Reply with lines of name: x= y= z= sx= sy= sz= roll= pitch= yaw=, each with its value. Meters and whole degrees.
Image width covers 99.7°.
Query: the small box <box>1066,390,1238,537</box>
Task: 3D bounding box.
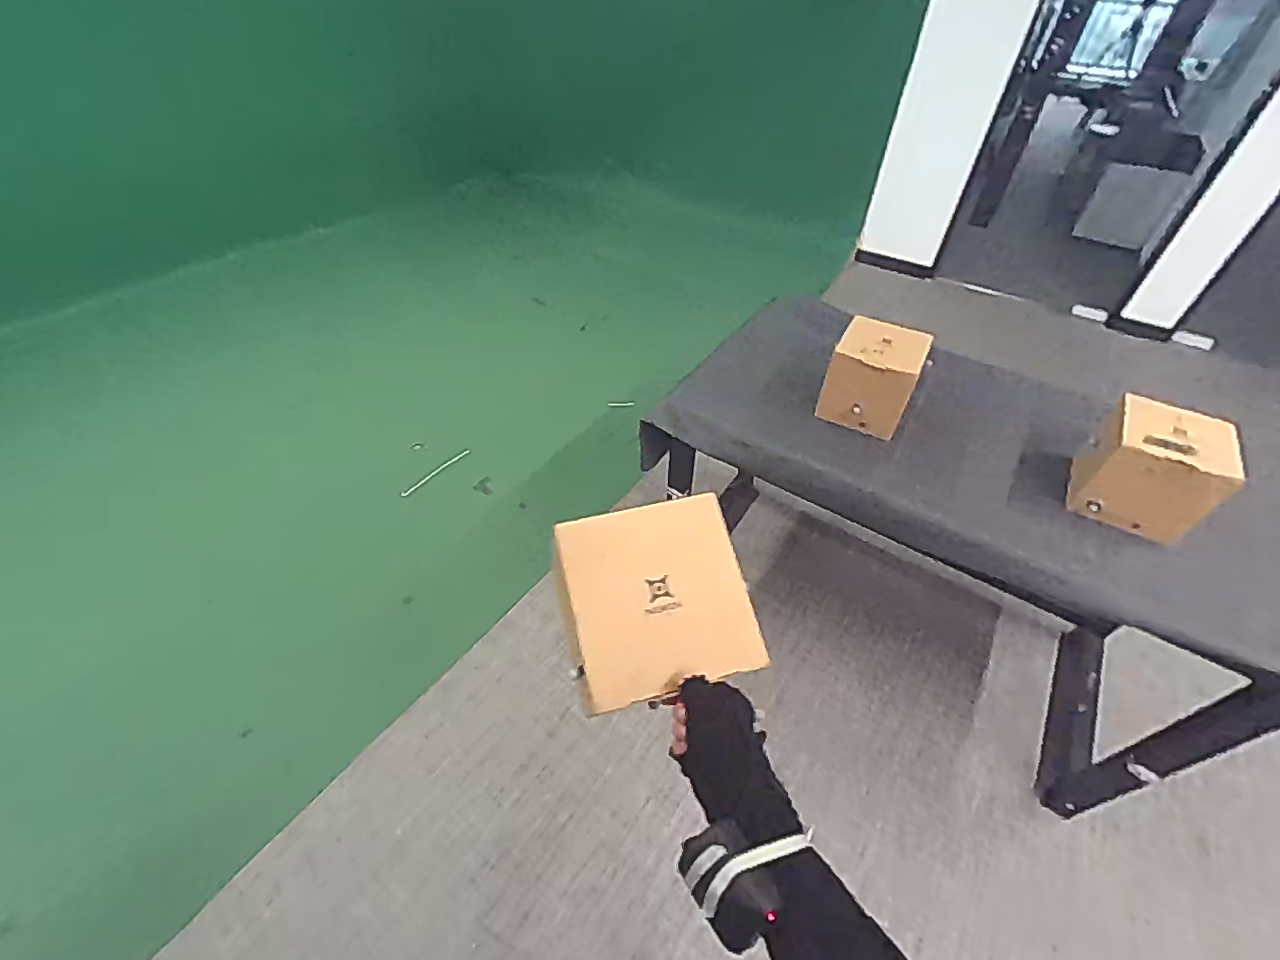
small box: x=0.915 y=-0.029 z=0.982 sx=0.168 sy=0.176 sz=0.179 roll=26 pitch=50 yaw=22

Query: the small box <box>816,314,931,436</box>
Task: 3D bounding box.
small box: x=0.498 y=-0.226 z=1.166 sx=0.168 sy=0.176 sz=0.179 roll=23 pitch=49 yaw=20

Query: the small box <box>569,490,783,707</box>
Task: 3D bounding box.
small box: x=0.021 y=0.132 z=0.577 sx=0.168 sy=0.176 sz=0.179 roll=-10 pitch=69 yaw=-14
